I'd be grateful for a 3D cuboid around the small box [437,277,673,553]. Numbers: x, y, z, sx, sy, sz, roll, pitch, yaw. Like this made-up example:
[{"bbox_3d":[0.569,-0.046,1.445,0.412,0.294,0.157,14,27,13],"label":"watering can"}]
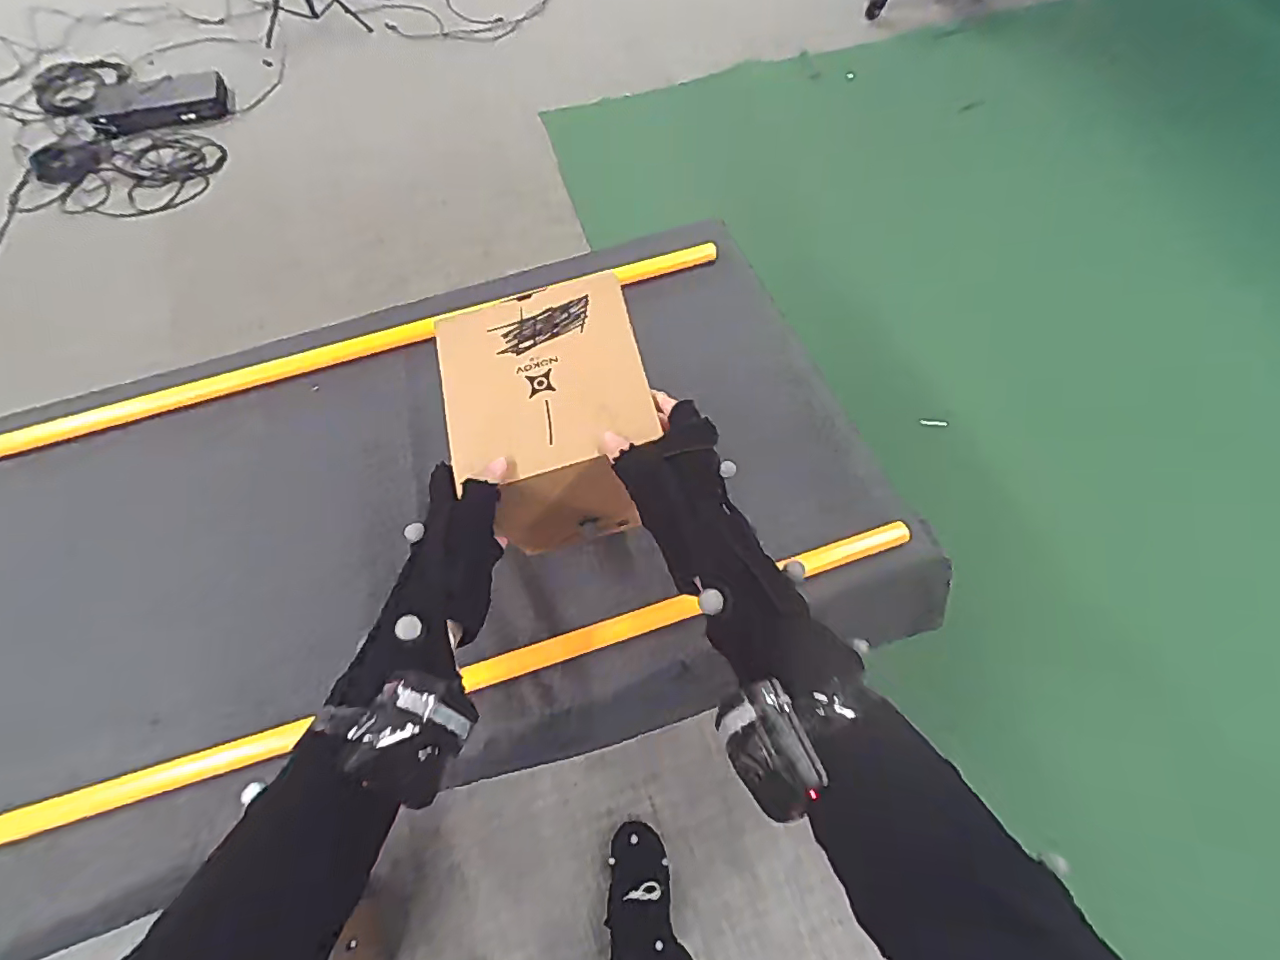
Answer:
[{"bbox_3d":[-0.071,-0.050,0.509,0.168,0.176,0.179,-15,67,2],"label":"small box"}]
